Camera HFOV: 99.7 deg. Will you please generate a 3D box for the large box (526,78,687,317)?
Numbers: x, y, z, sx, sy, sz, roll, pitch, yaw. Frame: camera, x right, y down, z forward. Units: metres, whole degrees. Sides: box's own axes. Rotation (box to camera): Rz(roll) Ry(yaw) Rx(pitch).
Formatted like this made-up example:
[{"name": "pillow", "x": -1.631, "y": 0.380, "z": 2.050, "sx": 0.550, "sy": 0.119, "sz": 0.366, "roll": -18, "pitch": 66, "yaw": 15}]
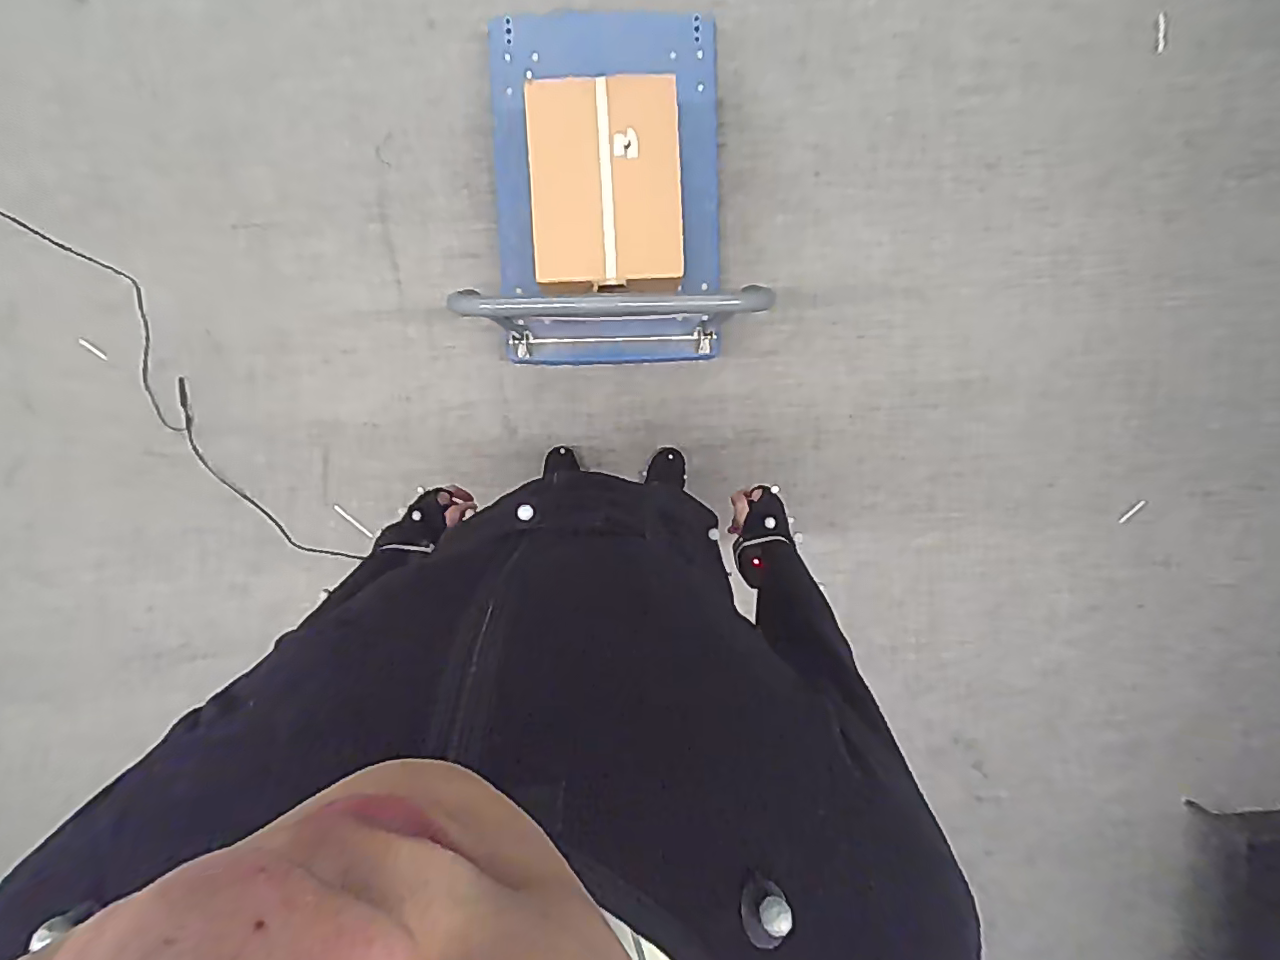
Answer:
[{"name": "large box", "x": -0.069, "y": -0.625, "z": 1.264, "sx": 0.320, "sy": 0.320, "sz": 0.408, "roll": -3, "pitch": 94, "yaw": -2}]
